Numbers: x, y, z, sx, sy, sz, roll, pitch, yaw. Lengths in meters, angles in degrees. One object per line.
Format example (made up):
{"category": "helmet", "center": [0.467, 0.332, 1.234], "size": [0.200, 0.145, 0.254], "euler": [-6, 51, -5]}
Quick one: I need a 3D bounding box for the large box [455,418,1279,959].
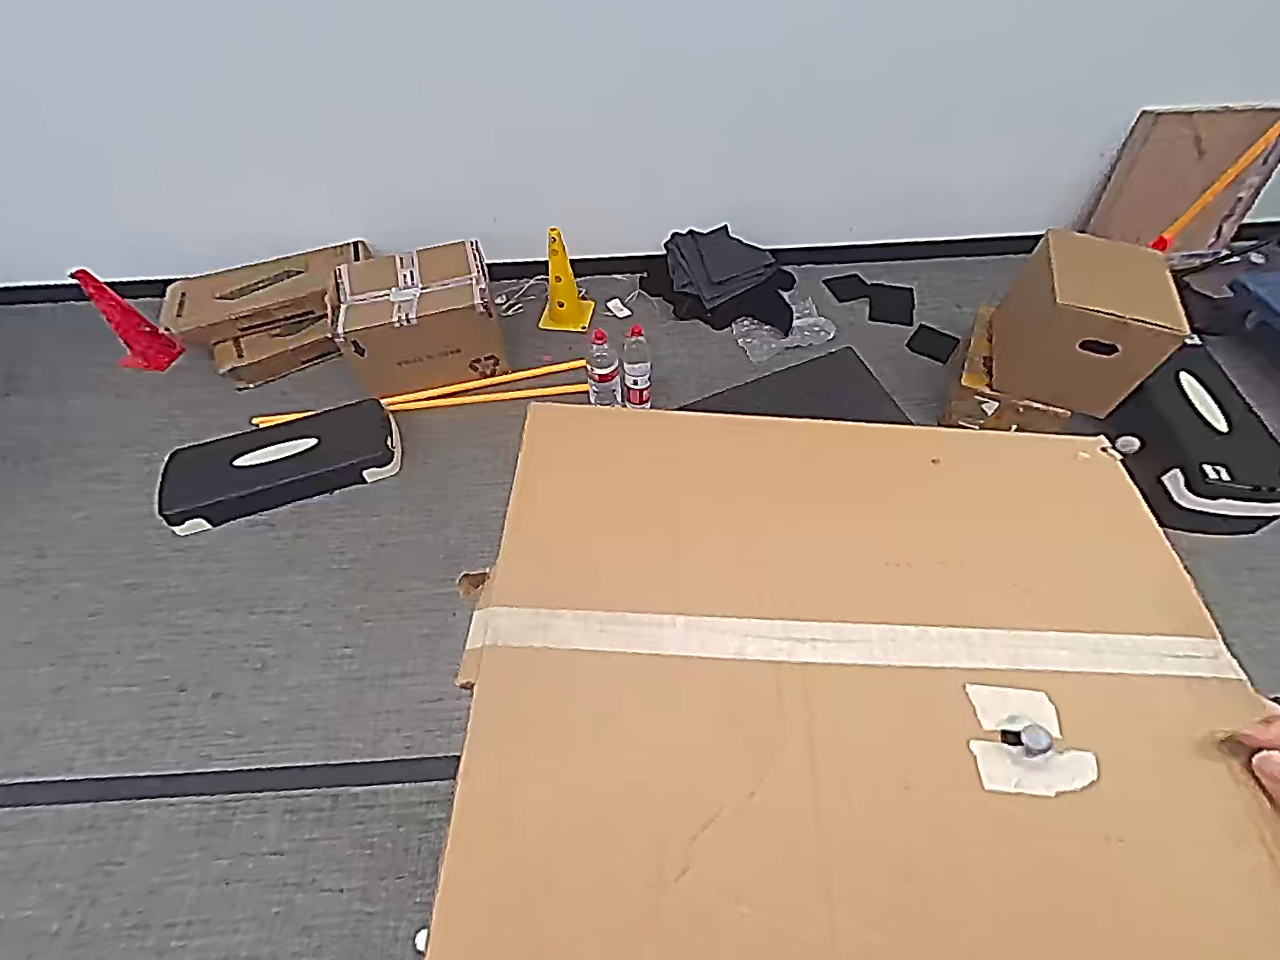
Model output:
{"category": "large box", "center": [0.111, 0.176, 0.424], "size": [0.408, 0.320, 0.320], "euler": [4, 57, -3]}
